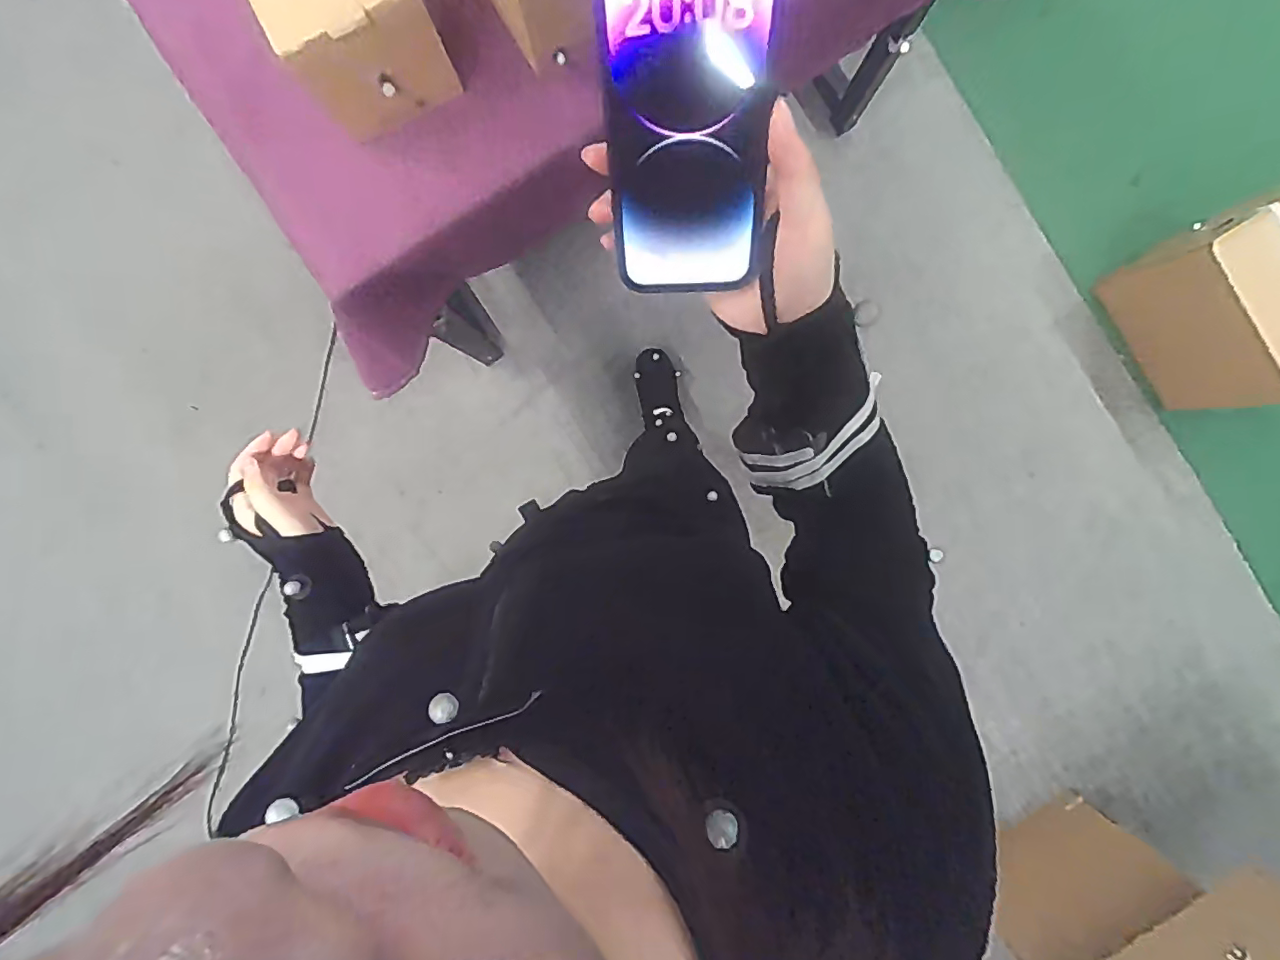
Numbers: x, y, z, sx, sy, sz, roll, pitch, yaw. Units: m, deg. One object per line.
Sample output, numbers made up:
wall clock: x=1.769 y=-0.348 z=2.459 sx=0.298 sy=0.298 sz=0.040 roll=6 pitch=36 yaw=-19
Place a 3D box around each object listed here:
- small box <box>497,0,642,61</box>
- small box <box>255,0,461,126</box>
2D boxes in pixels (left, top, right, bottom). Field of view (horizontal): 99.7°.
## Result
small box: x=-0.105 y=-0.649 z=0.637 sx=0.168 sy=0.176 sz=0.179 roll=-32 pitch=92 yaw=1
small box: x=-0.340 y=-0.564 z=0.642 sx=0.168 sy=0.176 sz=0.179 roll=-25 pitch=93 yaw=1
